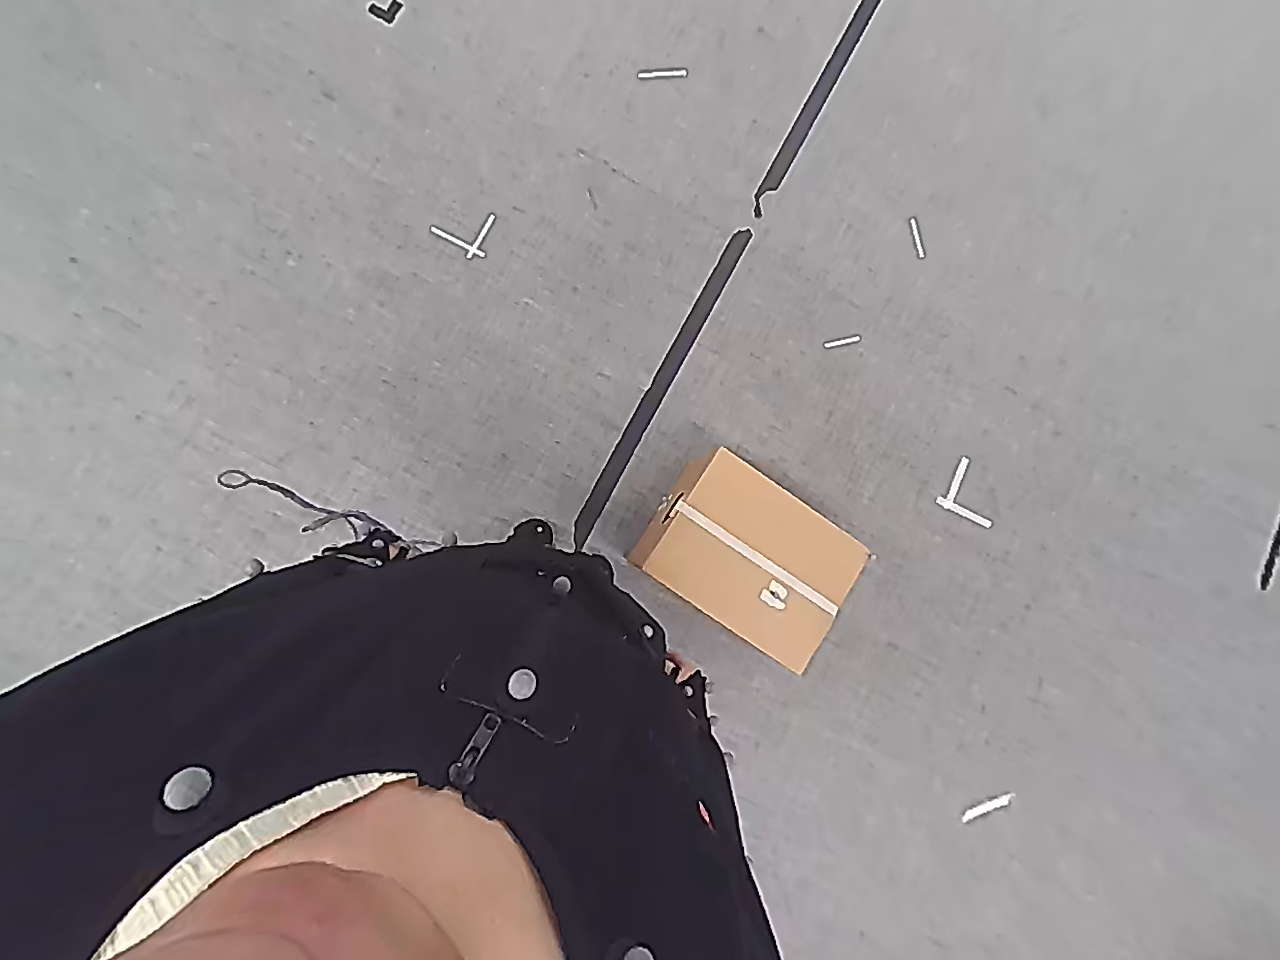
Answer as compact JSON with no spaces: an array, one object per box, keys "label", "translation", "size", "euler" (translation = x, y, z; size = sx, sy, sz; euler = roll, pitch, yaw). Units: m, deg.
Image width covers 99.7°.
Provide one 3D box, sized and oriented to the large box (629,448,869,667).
[{"label":"large box","translation":[0.233,0.173,1.284],"size":[0.408,0.320,0.320],"euler":[34,83,-4]}]
